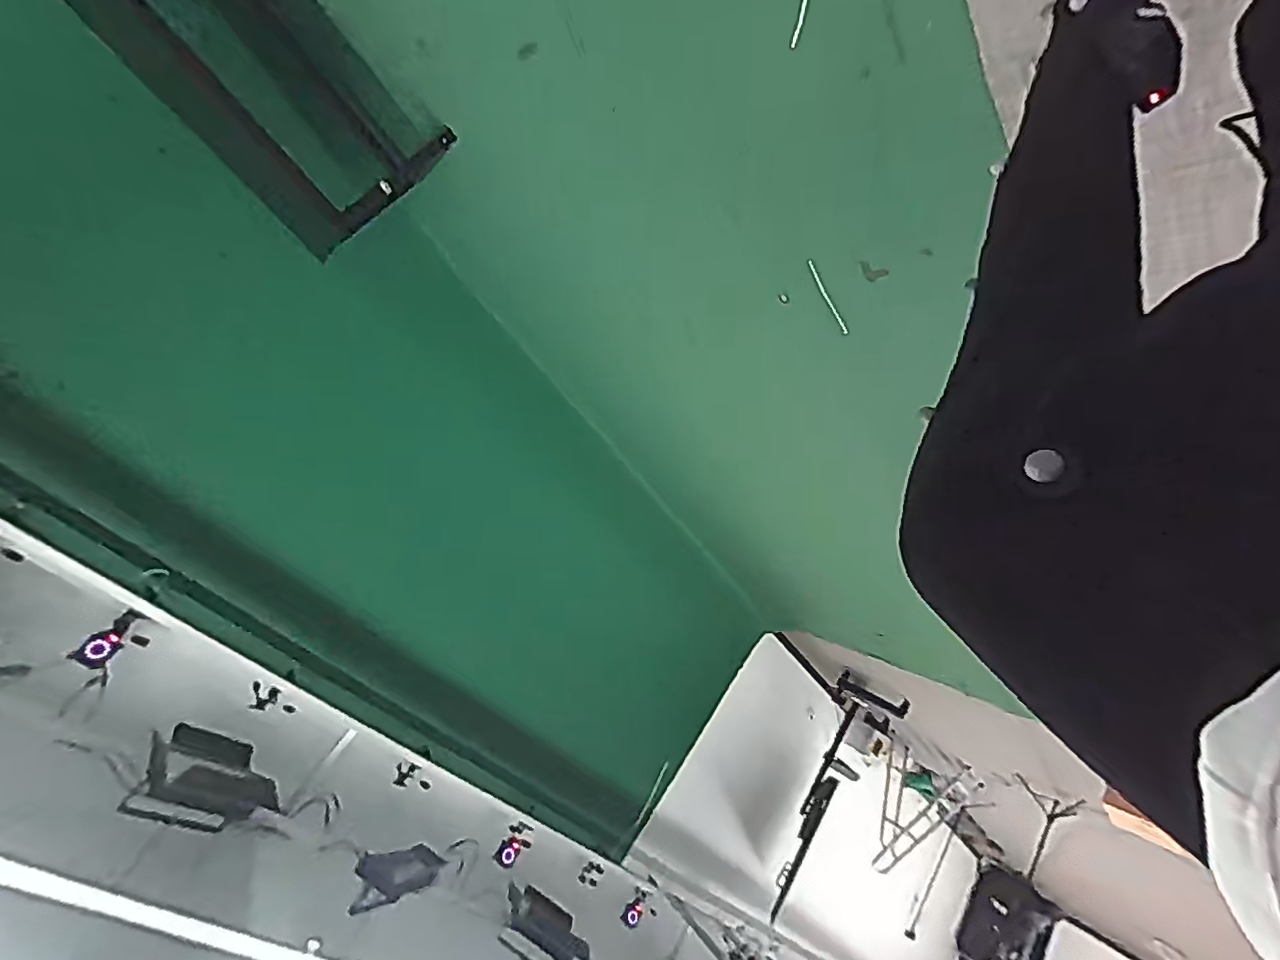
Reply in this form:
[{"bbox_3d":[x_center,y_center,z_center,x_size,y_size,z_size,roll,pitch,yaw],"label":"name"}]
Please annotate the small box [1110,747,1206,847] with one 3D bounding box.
[{"bbox_3d":[1.562,0.946,1.627,0.179,0.176,0.168,47,158,-26],"label":"small box"}]
